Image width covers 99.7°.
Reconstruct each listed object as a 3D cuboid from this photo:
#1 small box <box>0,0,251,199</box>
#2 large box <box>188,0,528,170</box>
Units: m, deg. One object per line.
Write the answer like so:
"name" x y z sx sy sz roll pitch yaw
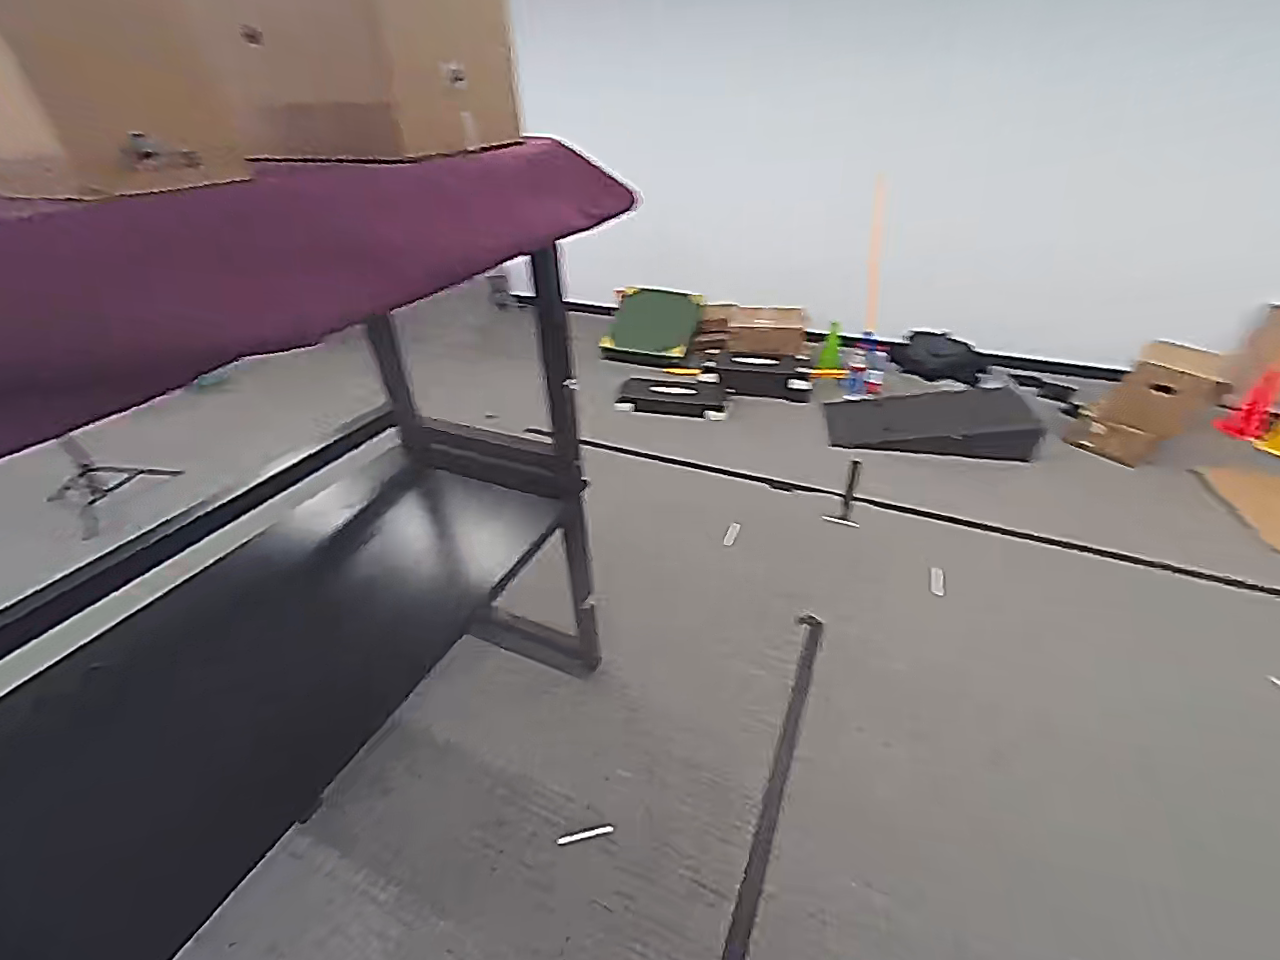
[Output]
"small box" -0.539 -0.376 0.525 0.179 0.176 0.168 12 38 18
"large box" -0.435 -0.659 0.803 0.408 0.320 0.320 11 37 19
